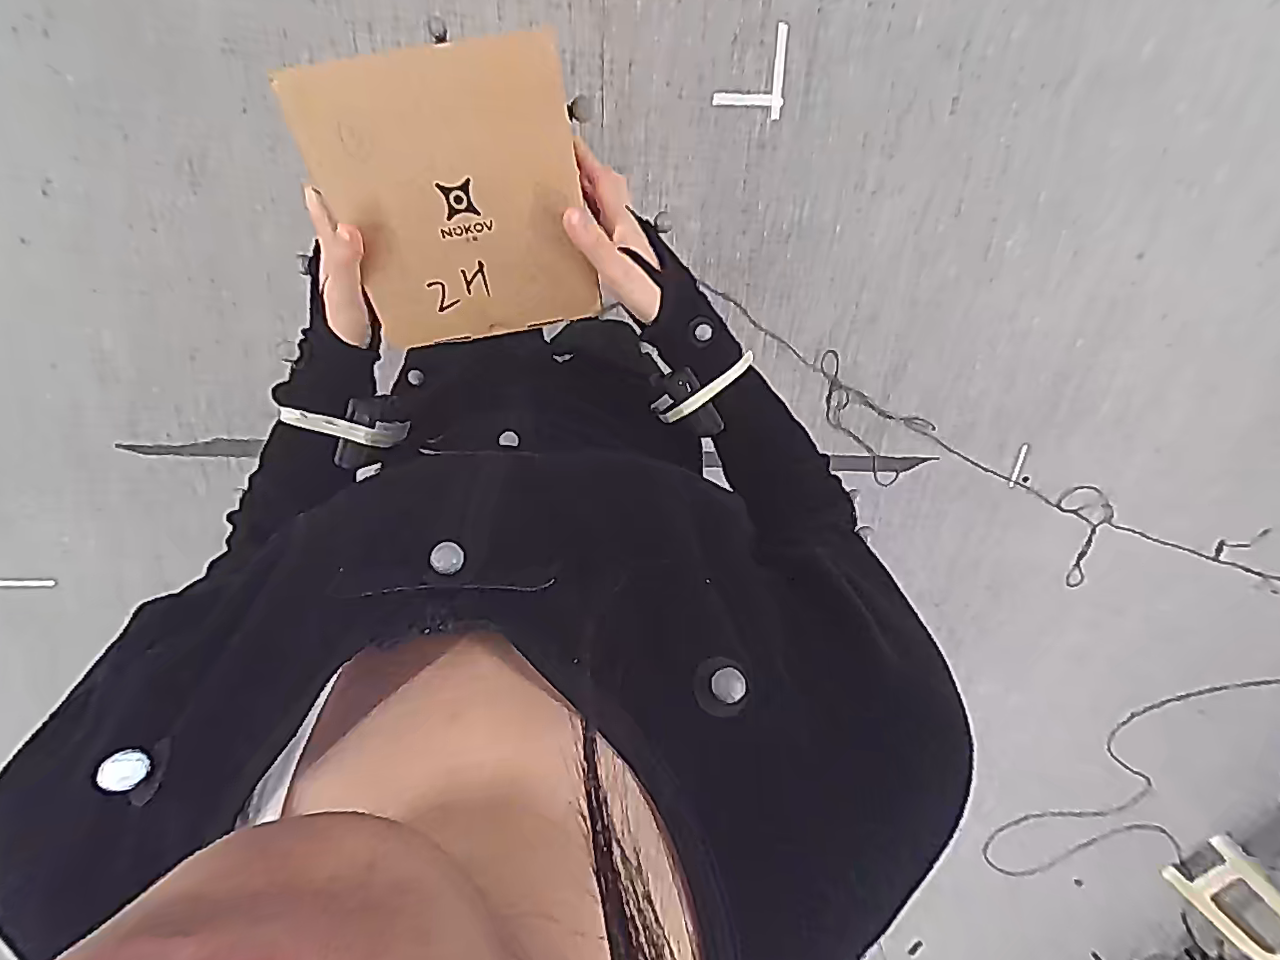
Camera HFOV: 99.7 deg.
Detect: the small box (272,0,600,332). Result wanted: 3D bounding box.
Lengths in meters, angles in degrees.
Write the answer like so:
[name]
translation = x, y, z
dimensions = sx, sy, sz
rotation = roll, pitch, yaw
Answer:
[small box]
translation = -0.129, -0.238, 0.415
dimensions = 0.168, 0.176, 0.179
rotation = -9, 129, -2
